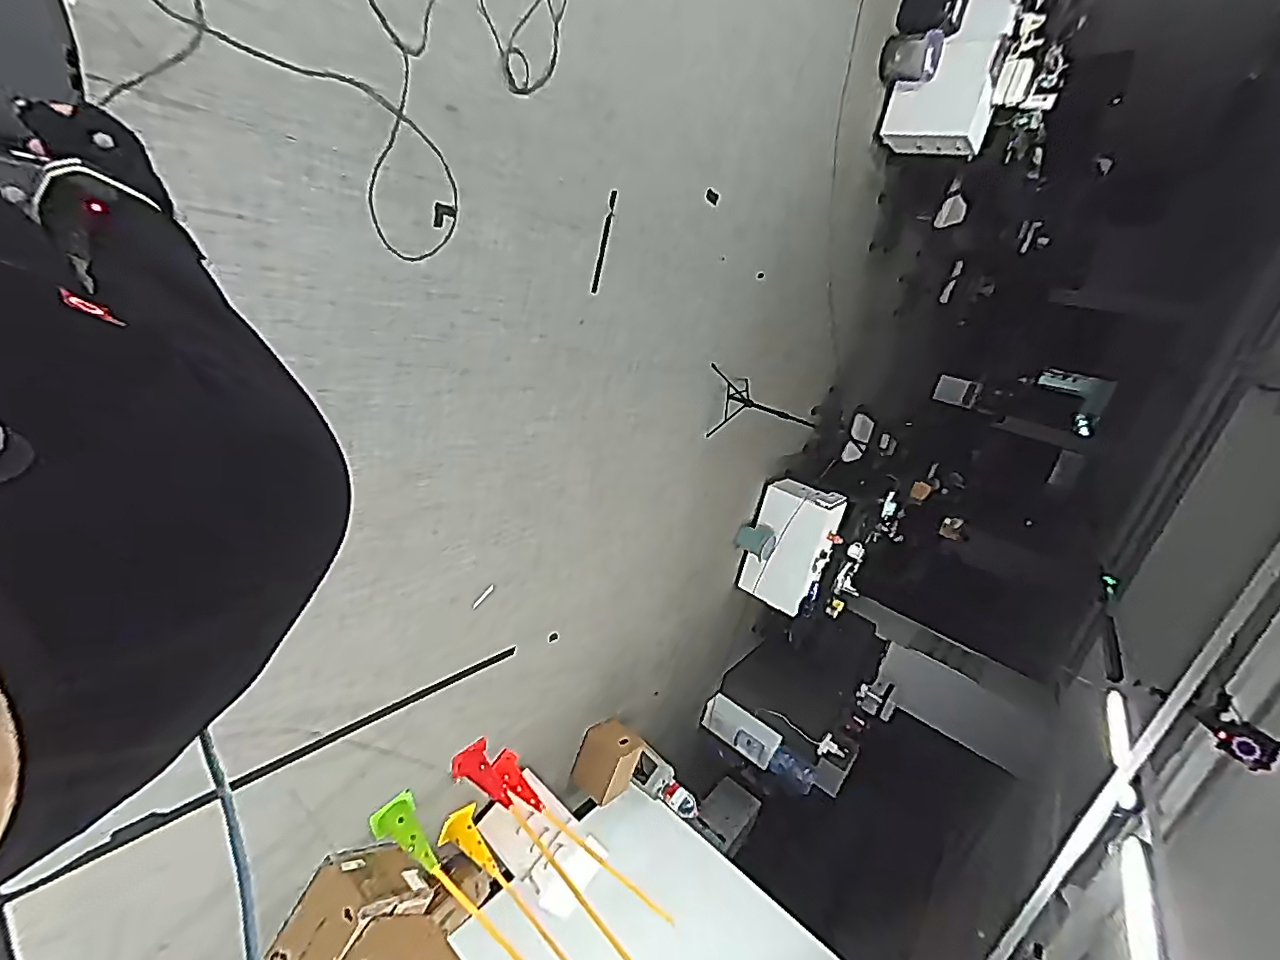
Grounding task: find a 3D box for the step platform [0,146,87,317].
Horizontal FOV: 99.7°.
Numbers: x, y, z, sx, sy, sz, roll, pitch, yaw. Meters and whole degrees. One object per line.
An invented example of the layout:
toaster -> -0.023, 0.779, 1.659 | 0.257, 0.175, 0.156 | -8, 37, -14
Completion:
step platform -> -1.317, -0.419, 0.810 | 0.684, 0.204, 0.286 | -13, 122, -49
